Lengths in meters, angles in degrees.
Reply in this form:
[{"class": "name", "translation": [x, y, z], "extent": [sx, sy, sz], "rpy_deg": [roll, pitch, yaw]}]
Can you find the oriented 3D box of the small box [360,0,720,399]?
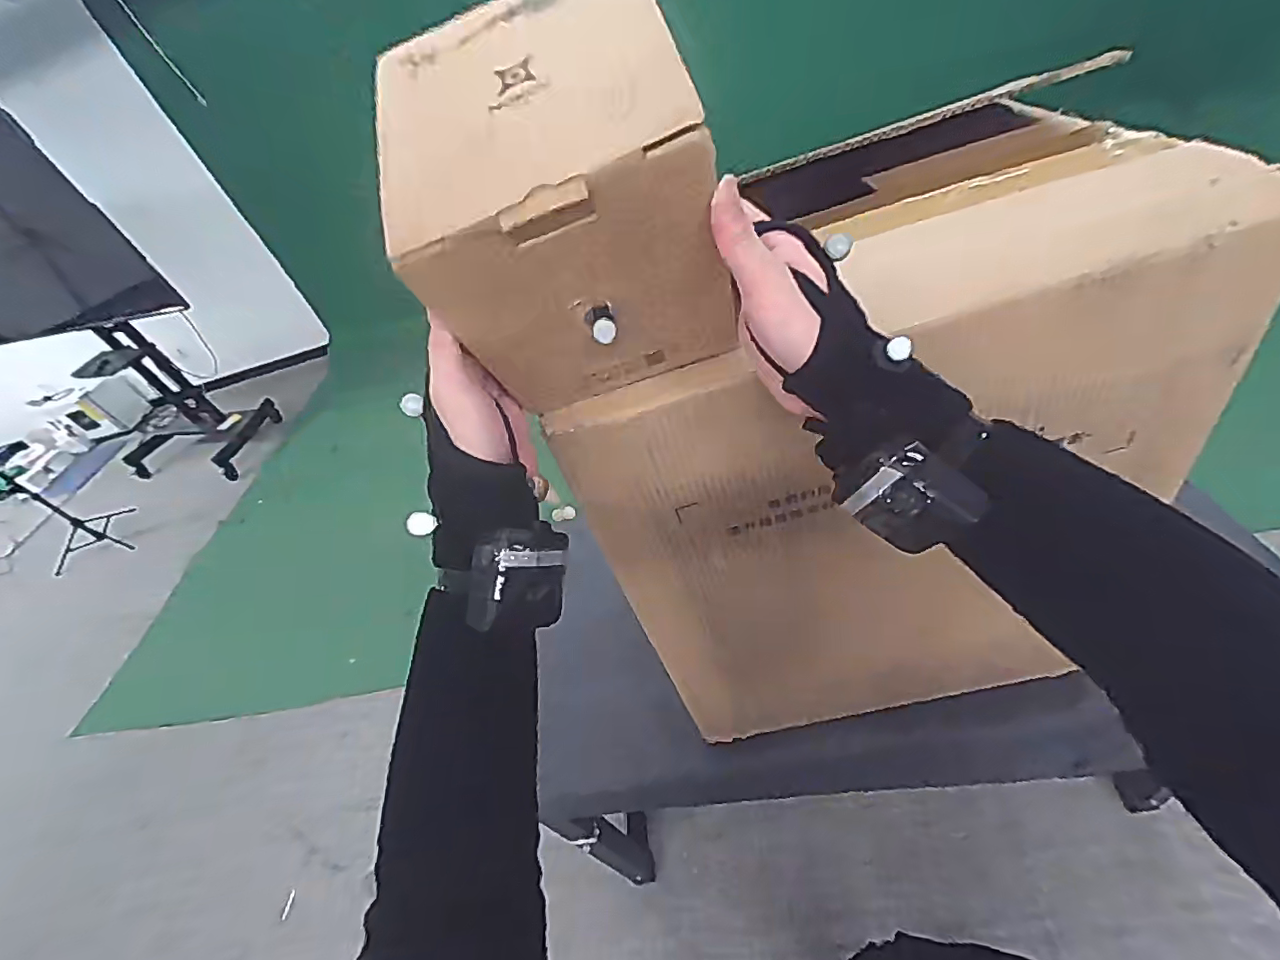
[{"class": "small box", "translation": [-0.052, -0.172, 0.353], "extent": [0.168, 0.176, 0.179], "rpy_deg": [-17, 67, 8]}]
